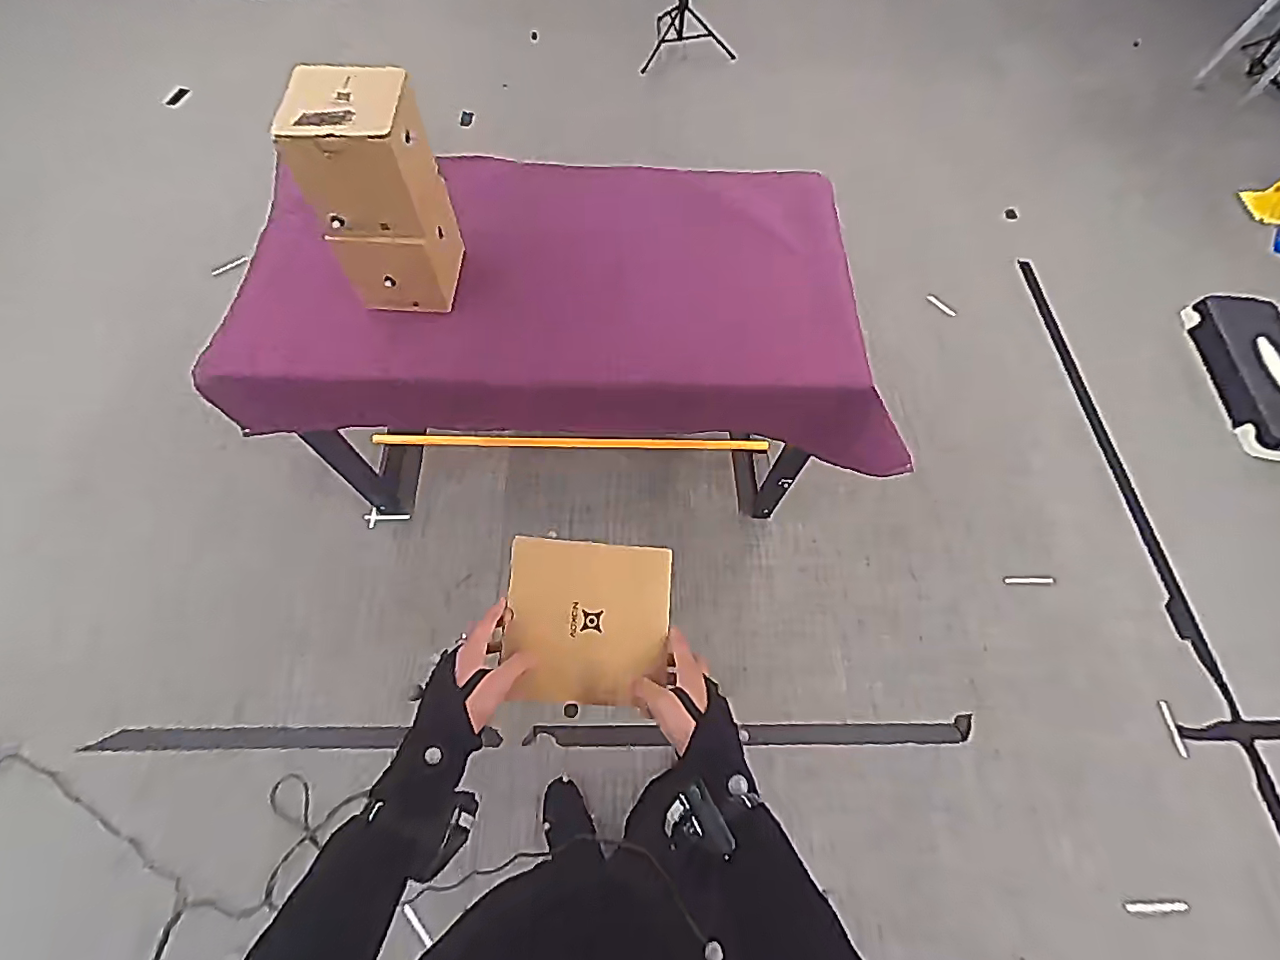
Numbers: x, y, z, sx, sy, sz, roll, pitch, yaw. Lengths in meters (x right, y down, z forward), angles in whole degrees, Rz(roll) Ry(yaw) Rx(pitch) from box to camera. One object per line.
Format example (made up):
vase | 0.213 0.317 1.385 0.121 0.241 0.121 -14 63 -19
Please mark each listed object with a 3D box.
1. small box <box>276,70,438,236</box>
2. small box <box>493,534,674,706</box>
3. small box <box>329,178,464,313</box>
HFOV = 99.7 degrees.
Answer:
small box | -0.436 -0.516 0.866 0.168 0.176 0.179 -1 64 -4
small box | -0.063 0.165 0.644 0.179 0.176 0.168 5 73 -4
small box | -0.439 -0.435 1.010 0.168 0.176 0.179 3 65 -2
